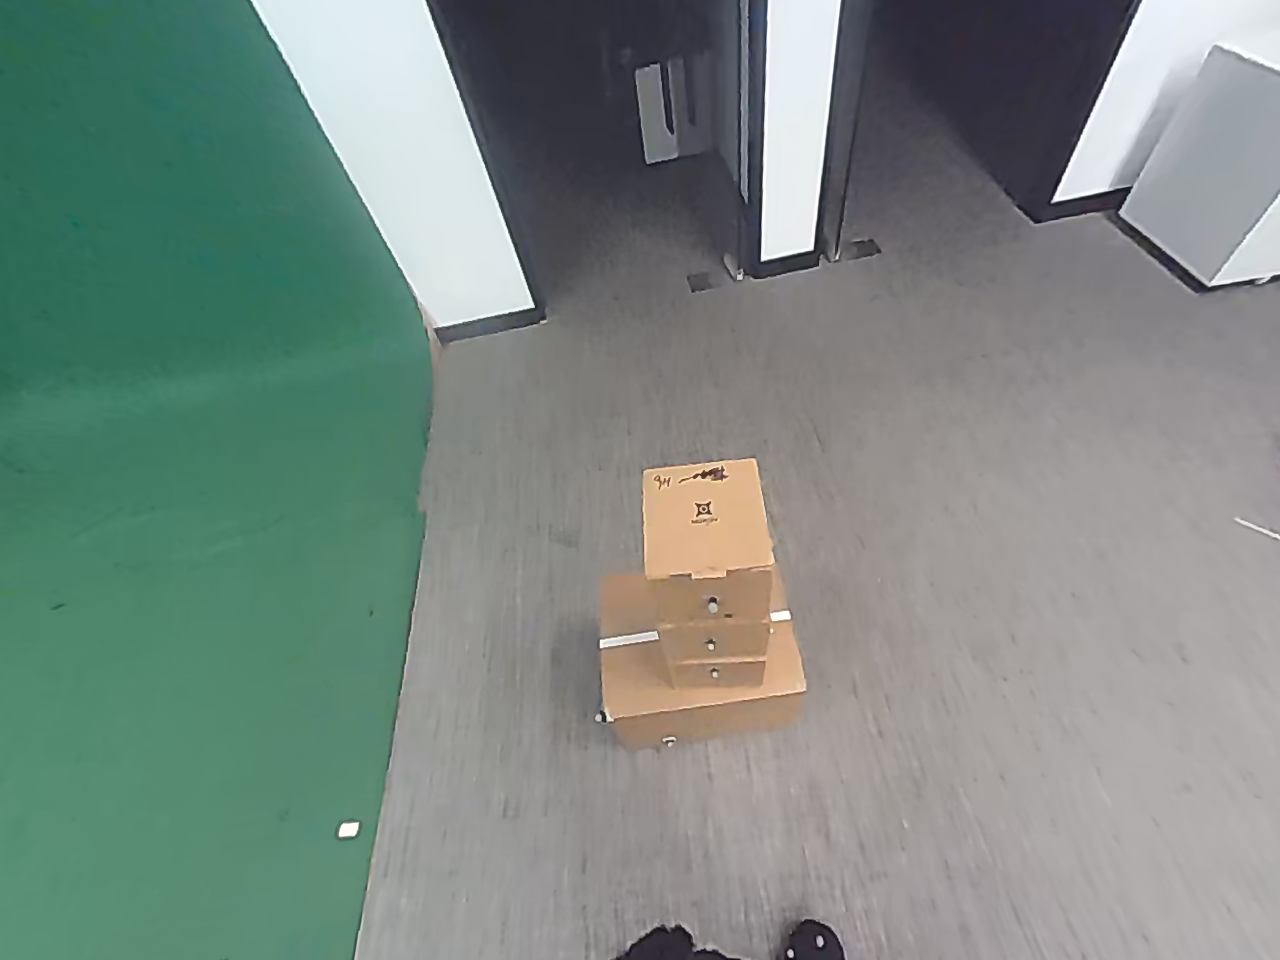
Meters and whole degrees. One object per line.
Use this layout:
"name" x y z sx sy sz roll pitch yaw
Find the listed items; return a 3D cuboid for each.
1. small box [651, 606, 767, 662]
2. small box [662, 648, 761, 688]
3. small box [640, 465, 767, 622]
"small box" 0.114 0.203 0.923 0.179 0.176 0.168 -6 54 7
"small box" 0.137 0.301 1.052 0.179 0.176 0.168 -4 55 6
"small box" 0.094 0.102 0.796 0.168 0.176 0.179 -5 55 7
